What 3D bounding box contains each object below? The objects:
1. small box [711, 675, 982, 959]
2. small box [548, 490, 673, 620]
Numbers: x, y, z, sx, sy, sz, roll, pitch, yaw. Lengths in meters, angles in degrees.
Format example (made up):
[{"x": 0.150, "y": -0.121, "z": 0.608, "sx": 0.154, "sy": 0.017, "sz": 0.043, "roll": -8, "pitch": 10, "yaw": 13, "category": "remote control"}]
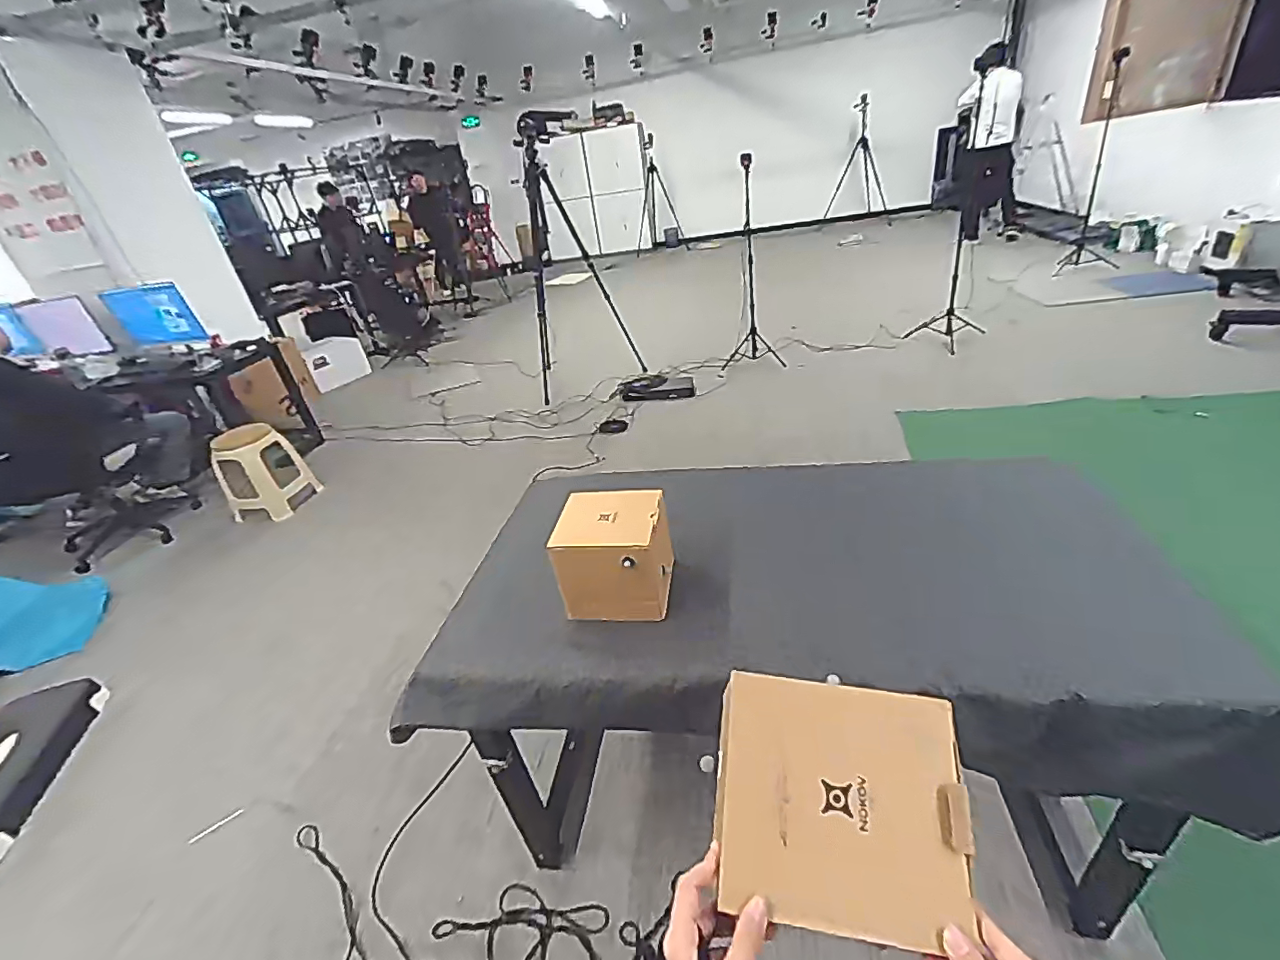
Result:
[{"x": 0.156, "y": 0.279, "z": 0.470, "sx": 0.179, "sy": 0.176, "sz": 0.168, "roll": 3, "pitch": 60, "yaw": 9, "category": "small box"}, {"x": -0.043, "y": 0.135, "z": 0.973, "sx": 0.179, "sy": 0.176, "sz": 0.168, "roll": -3, "pitch": 31, "yaw": 12, "category": "small box"}]
